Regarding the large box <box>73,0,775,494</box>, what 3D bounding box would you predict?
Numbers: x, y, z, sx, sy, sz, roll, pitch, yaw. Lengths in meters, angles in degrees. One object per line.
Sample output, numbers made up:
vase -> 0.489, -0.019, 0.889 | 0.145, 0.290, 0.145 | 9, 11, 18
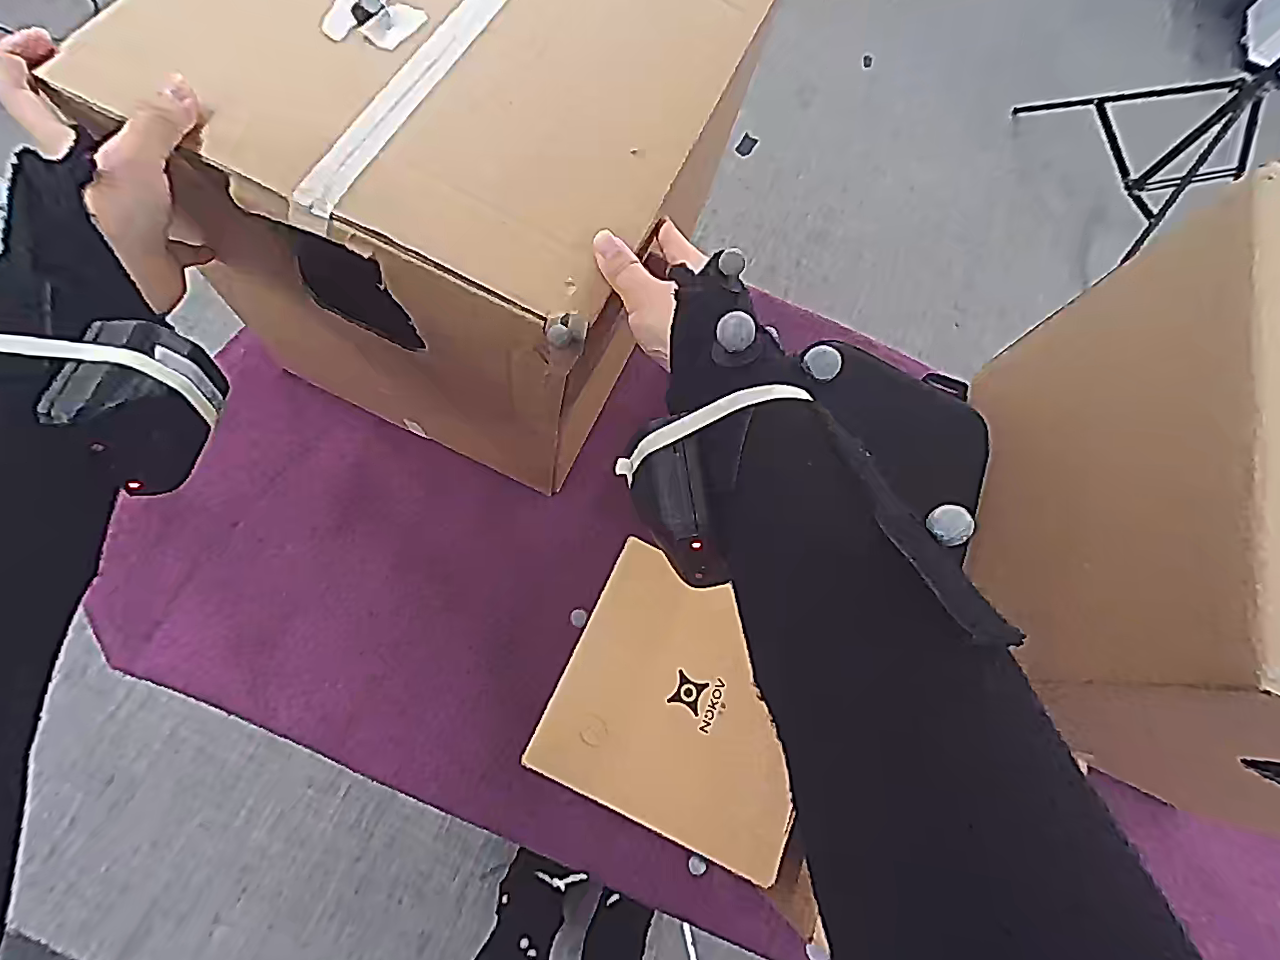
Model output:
large box -> -0.123, -0.256, 0.501 | 0.320, 0.320, 0.408 | 24, 70, -2
